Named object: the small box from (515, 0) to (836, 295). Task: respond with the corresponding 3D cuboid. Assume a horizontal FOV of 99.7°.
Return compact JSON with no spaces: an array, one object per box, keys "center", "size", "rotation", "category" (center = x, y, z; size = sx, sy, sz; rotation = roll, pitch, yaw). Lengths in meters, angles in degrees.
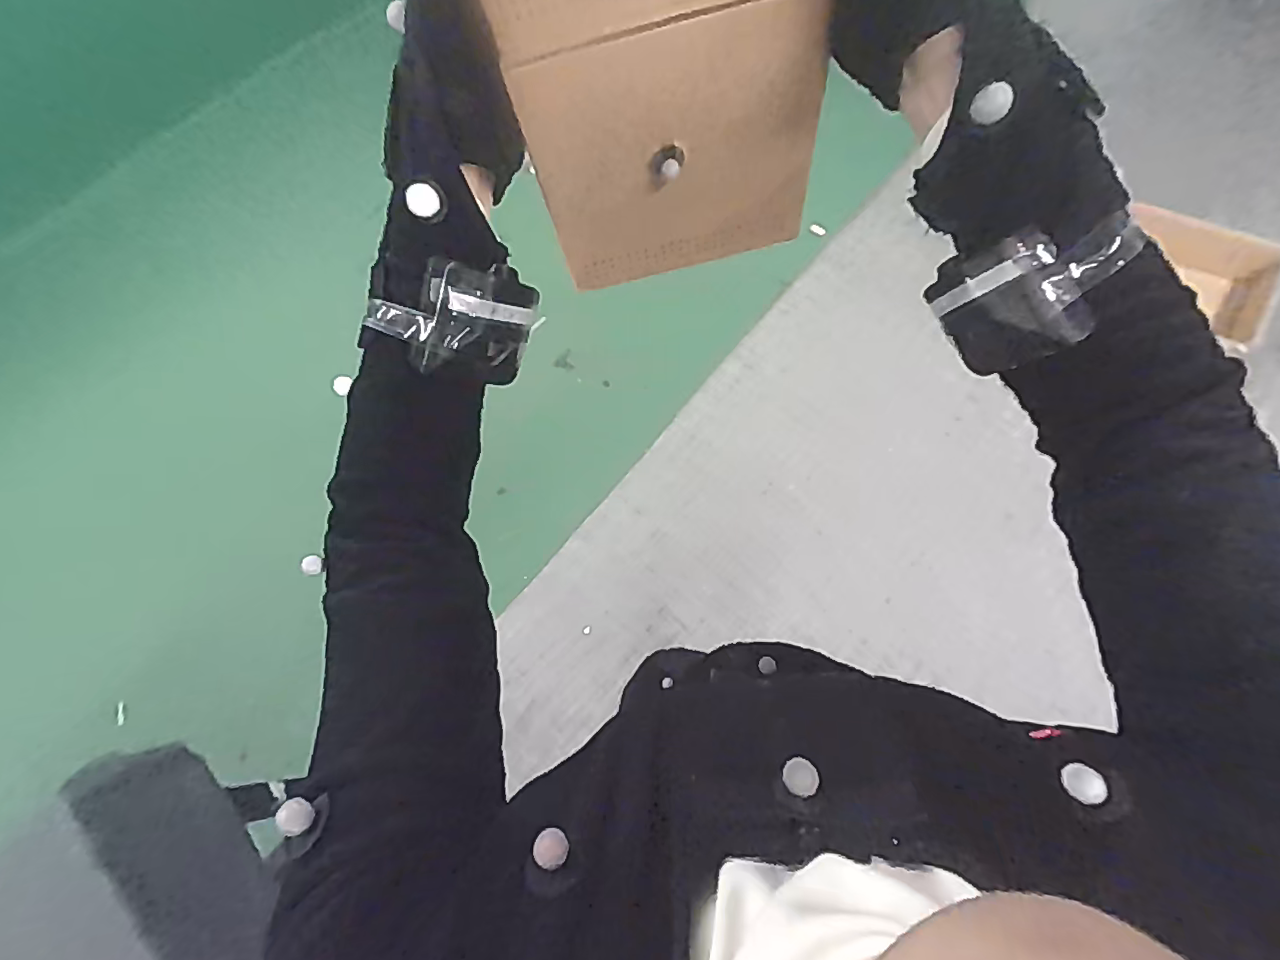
[{"center":[0.018,-0.266,0.393],"size":[0.179,0.176,0.168],"rotation":[-12,67,4],"category":"small box"}]
